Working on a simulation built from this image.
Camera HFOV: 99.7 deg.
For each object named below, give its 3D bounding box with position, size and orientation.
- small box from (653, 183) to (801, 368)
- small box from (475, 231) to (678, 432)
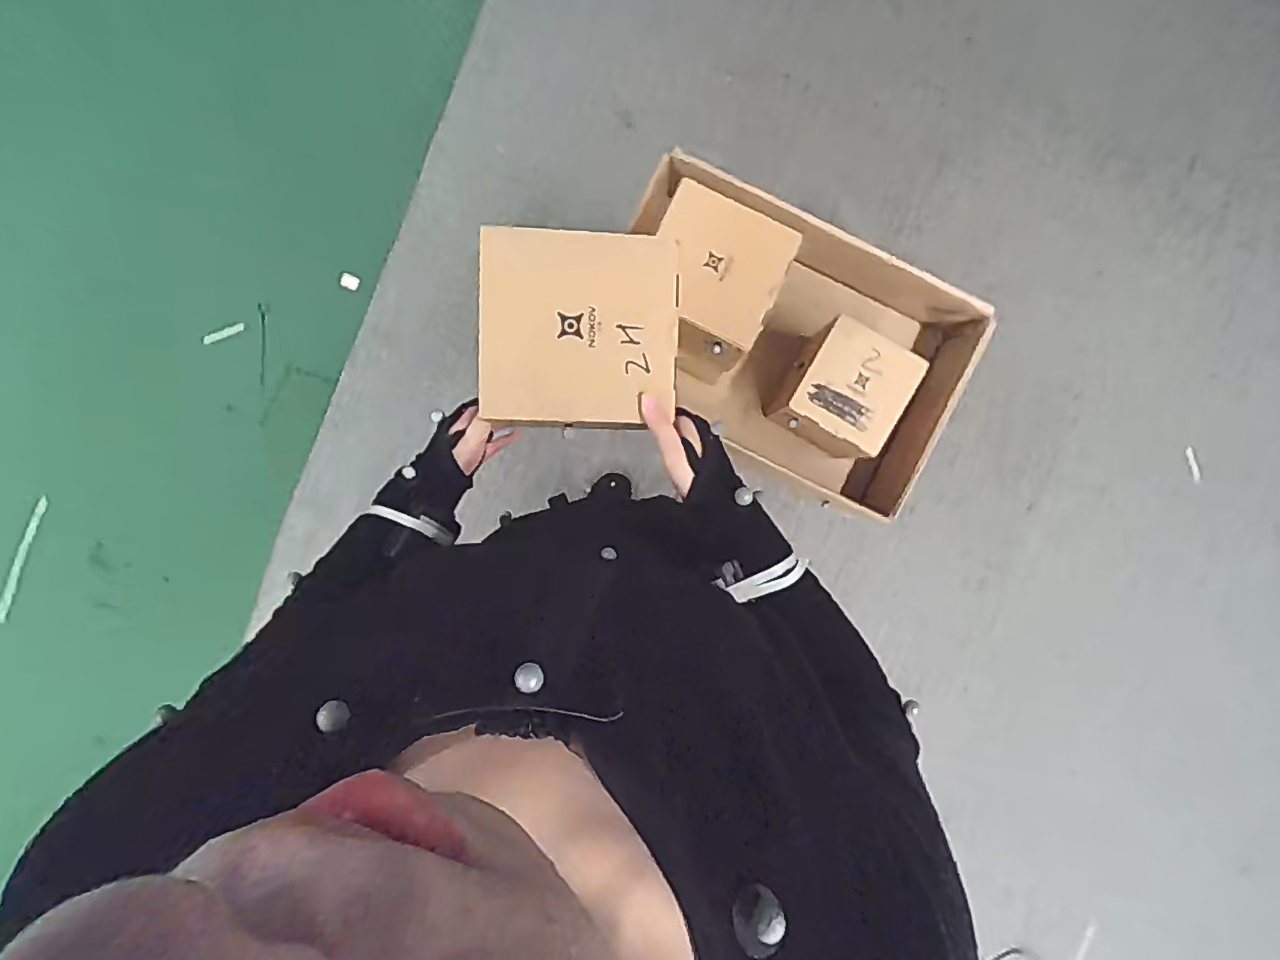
[{"bbox_3d":[0.096,-0.277,0.782,0.179,0.176,0.168,26,91,-2],"label":"small box"},{"bbox_3d":[-0.064,-0.136,0.556,0.179,0.176,0.168,1,94,-7],"label":"small box"}]
